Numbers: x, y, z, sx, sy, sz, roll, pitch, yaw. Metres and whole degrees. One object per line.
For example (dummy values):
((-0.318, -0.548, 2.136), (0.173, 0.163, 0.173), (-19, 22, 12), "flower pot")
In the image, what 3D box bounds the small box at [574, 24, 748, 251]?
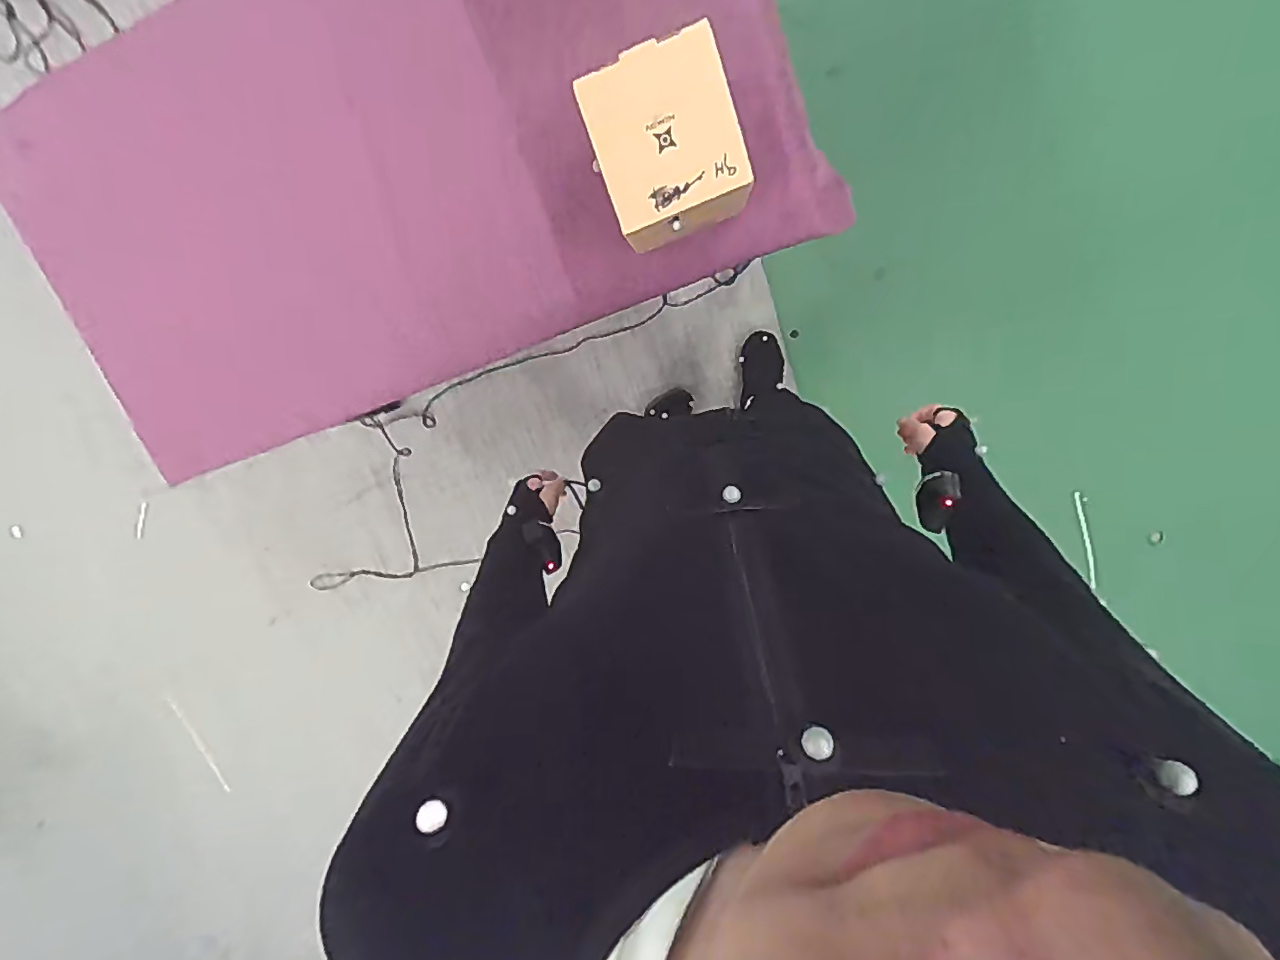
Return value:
((0.034, -0.424, 0.707), (0.168, 0.176, 0.179), (-17, 102, 12), "small box")
